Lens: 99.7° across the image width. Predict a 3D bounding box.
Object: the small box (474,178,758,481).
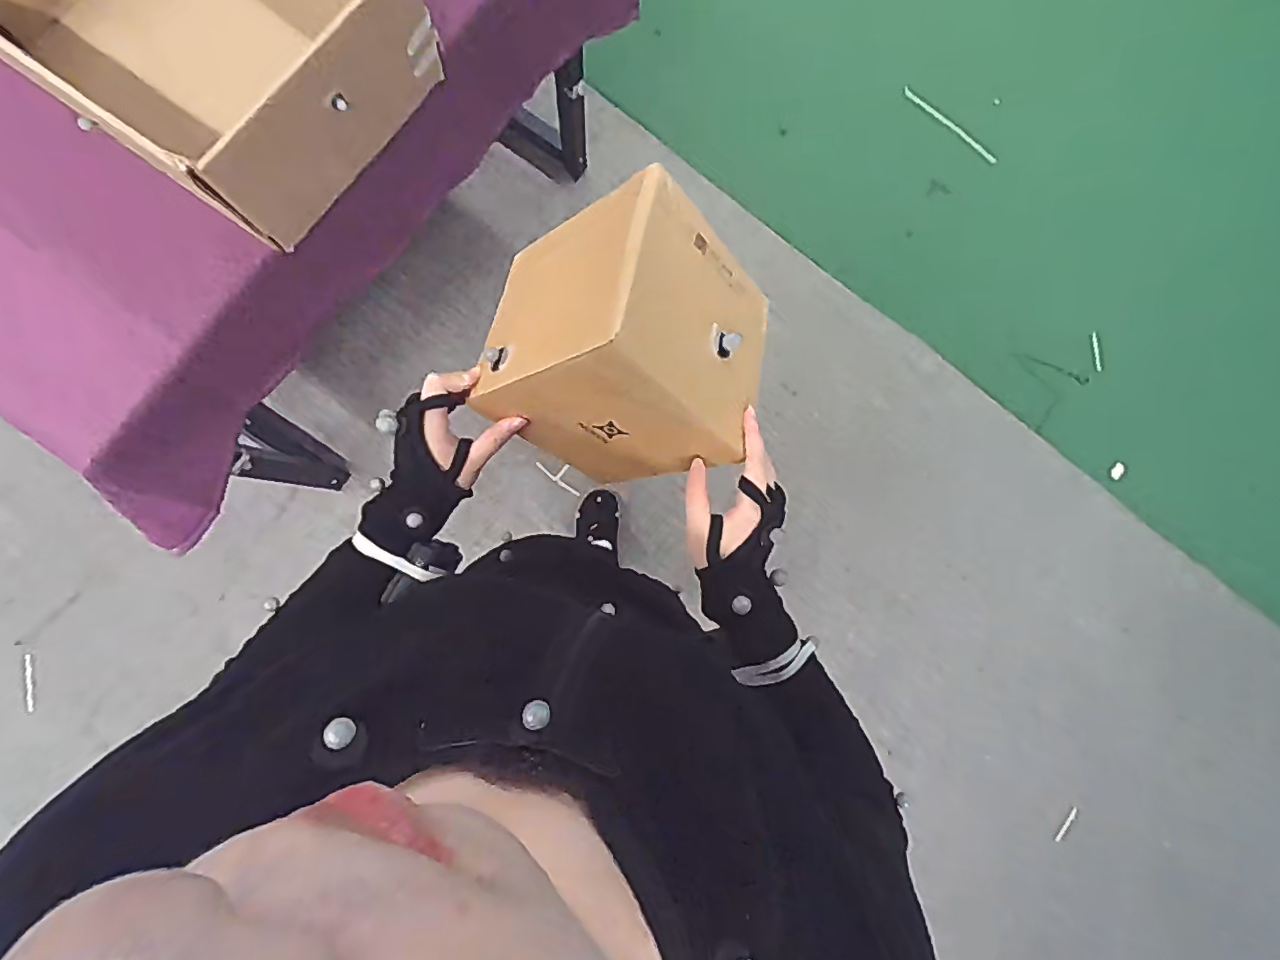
[{"bbox_3d":[-0.010,-0.118,0.476,0.168,0.179,0.176,34,59,-37],"label":"small box"}]
